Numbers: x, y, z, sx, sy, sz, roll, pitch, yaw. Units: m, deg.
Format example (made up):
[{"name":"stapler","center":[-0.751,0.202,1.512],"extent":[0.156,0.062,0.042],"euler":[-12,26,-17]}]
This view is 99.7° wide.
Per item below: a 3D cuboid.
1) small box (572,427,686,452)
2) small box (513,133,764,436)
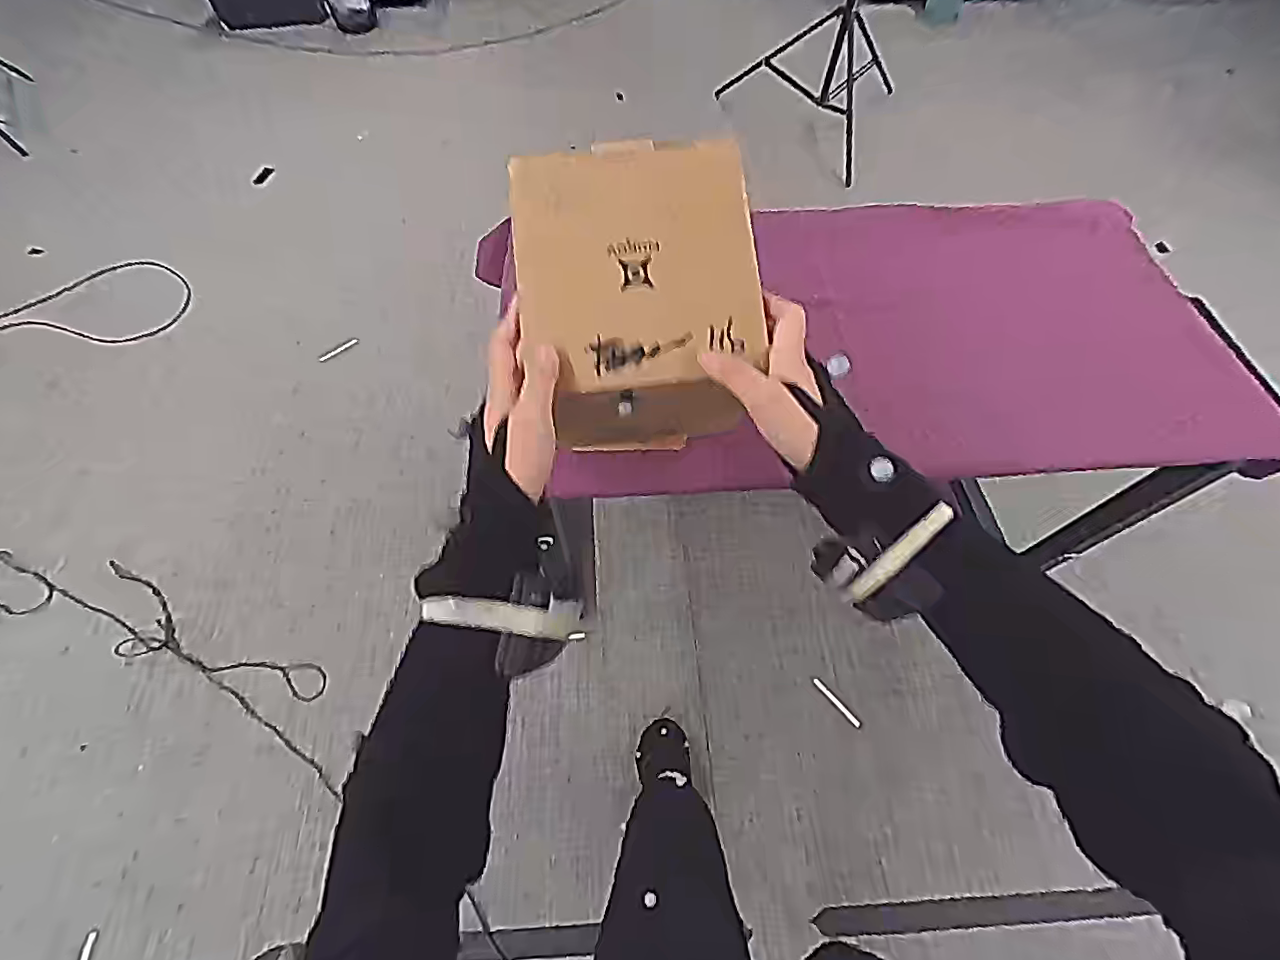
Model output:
[{"name":"small box","center":[-0.018,-0.158,0.760],"extent":[0.168,0.176,0.179],"euler":[0,61,-2]},{"name":"small box","center":[-0.006,-0.147,0.454],"extent":[0.168,0.176,0.179],"euler":[-6,81,-2]}]
